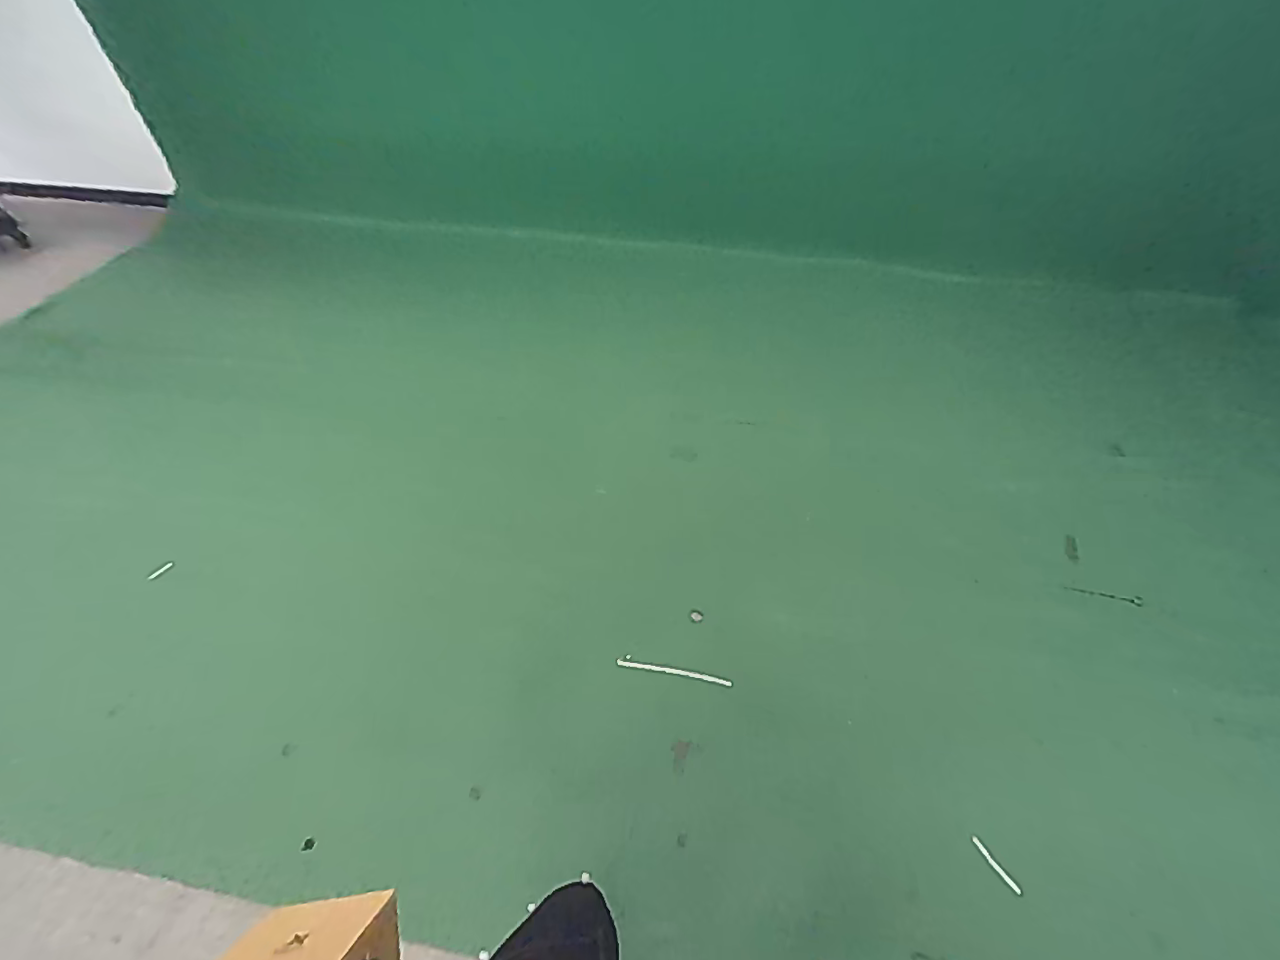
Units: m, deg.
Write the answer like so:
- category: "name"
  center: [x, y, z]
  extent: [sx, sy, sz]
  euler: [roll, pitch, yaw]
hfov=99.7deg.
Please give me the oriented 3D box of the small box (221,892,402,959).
- category: "small box"
  center: [-0.396, 0.633, 0.634]
  extent: [0.168, 0.179, 0.176]
  euler: [-8, 80, -1]
